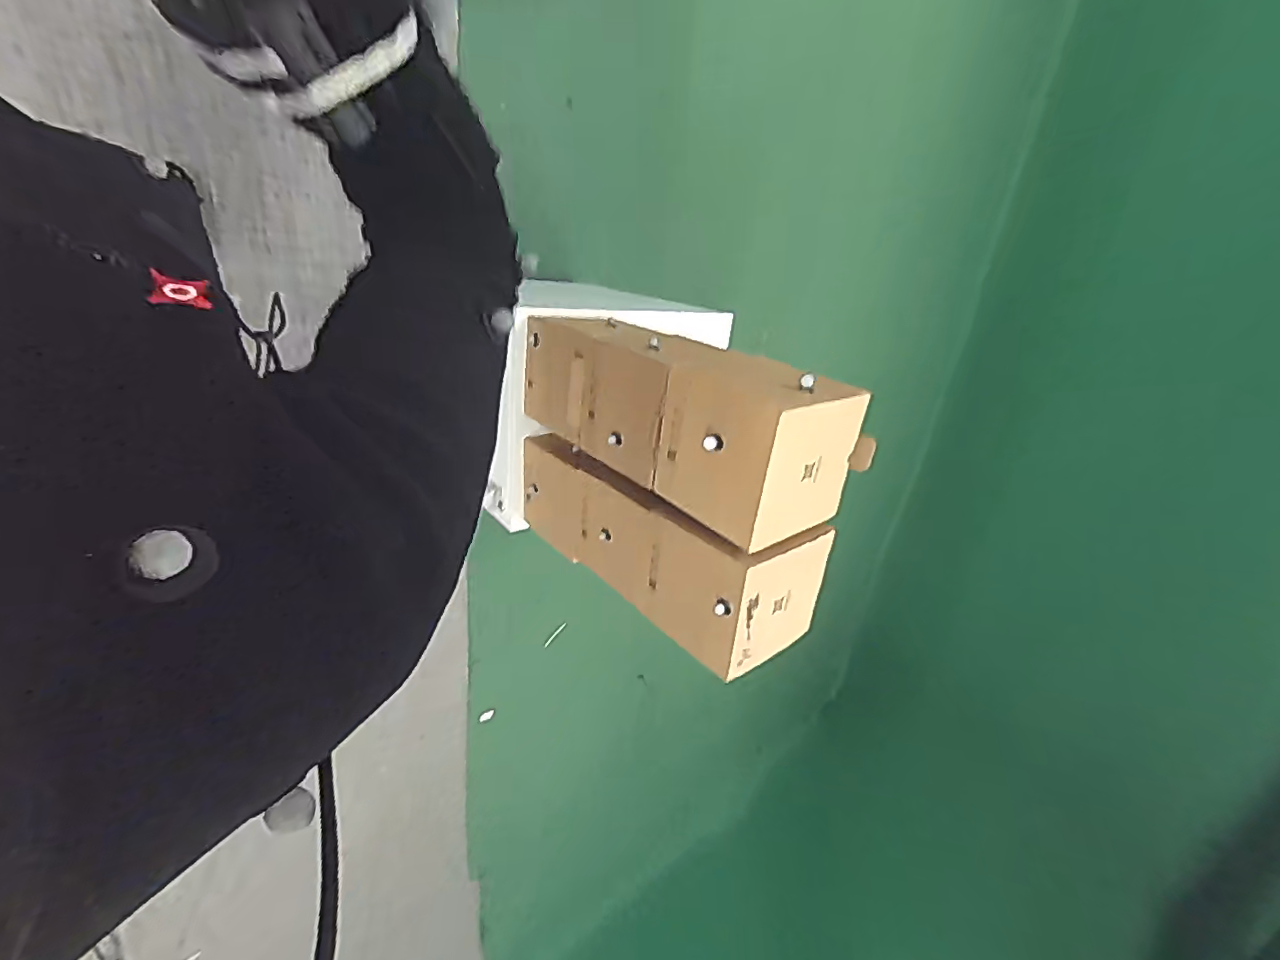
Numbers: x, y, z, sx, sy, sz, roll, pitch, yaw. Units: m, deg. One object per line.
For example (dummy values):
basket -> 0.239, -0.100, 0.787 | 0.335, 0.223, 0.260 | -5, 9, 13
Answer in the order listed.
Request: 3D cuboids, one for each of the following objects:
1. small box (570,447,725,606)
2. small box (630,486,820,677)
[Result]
small box -> 0.005, 0.062, 0.844 | 0.179, 0.176, 0.168 | -17, 123, -37
small box -> 0.110, 0.122, 0.735 | 0.179, 0.176, 0.168 | -15, 121, -40
